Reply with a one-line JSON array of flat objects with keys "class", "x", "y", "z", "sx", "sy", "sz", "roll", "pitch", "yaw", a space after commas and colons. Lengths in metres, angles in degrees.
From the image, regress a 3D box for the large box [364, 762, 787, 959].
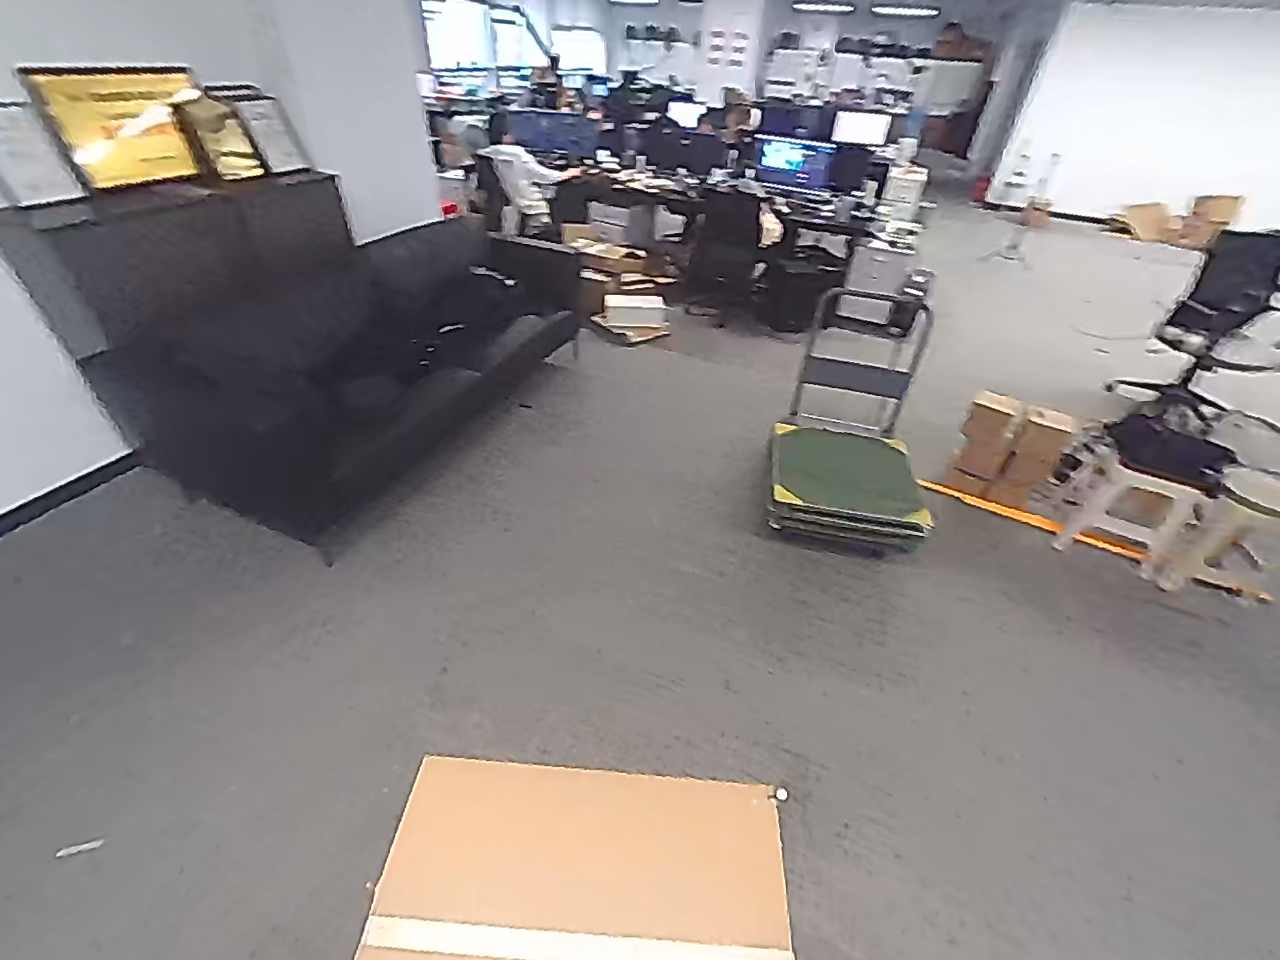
[{"class": "large box", "x": -0.069, "y": 0.551, "z": 0.614, "sx": 0.408, "sy": 0.320, "sz": 0.320, "roll": 5, "pitch": 43, "yaw": -1}]
